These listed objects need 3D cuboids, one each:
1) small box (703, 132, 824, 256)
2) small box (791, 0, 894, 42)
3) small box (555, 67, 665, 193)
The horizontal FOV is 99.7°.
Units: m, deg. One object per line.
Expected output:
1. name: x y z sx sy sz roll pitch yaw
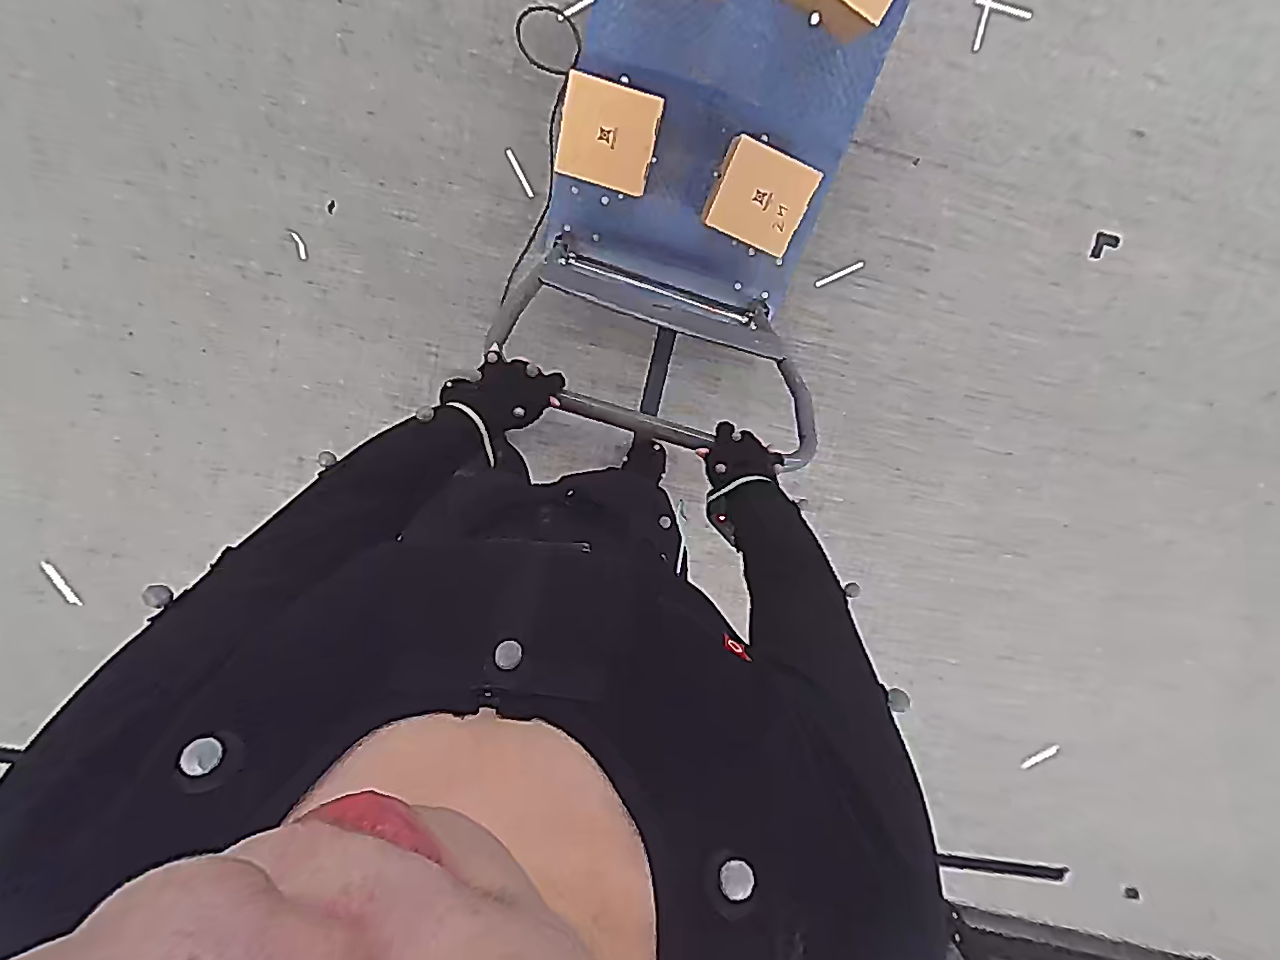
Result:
1. small box: 0.242 -0.585 1.115 0.179 0.176 0.168 21 118 -10
2. small box: 0.377 -0.909 0.930 0.168 0.176 0.179 26 118 -12
3. small box: -0.058 -0.681 1.071 0.179 0.176 0.168 13 119 -7
